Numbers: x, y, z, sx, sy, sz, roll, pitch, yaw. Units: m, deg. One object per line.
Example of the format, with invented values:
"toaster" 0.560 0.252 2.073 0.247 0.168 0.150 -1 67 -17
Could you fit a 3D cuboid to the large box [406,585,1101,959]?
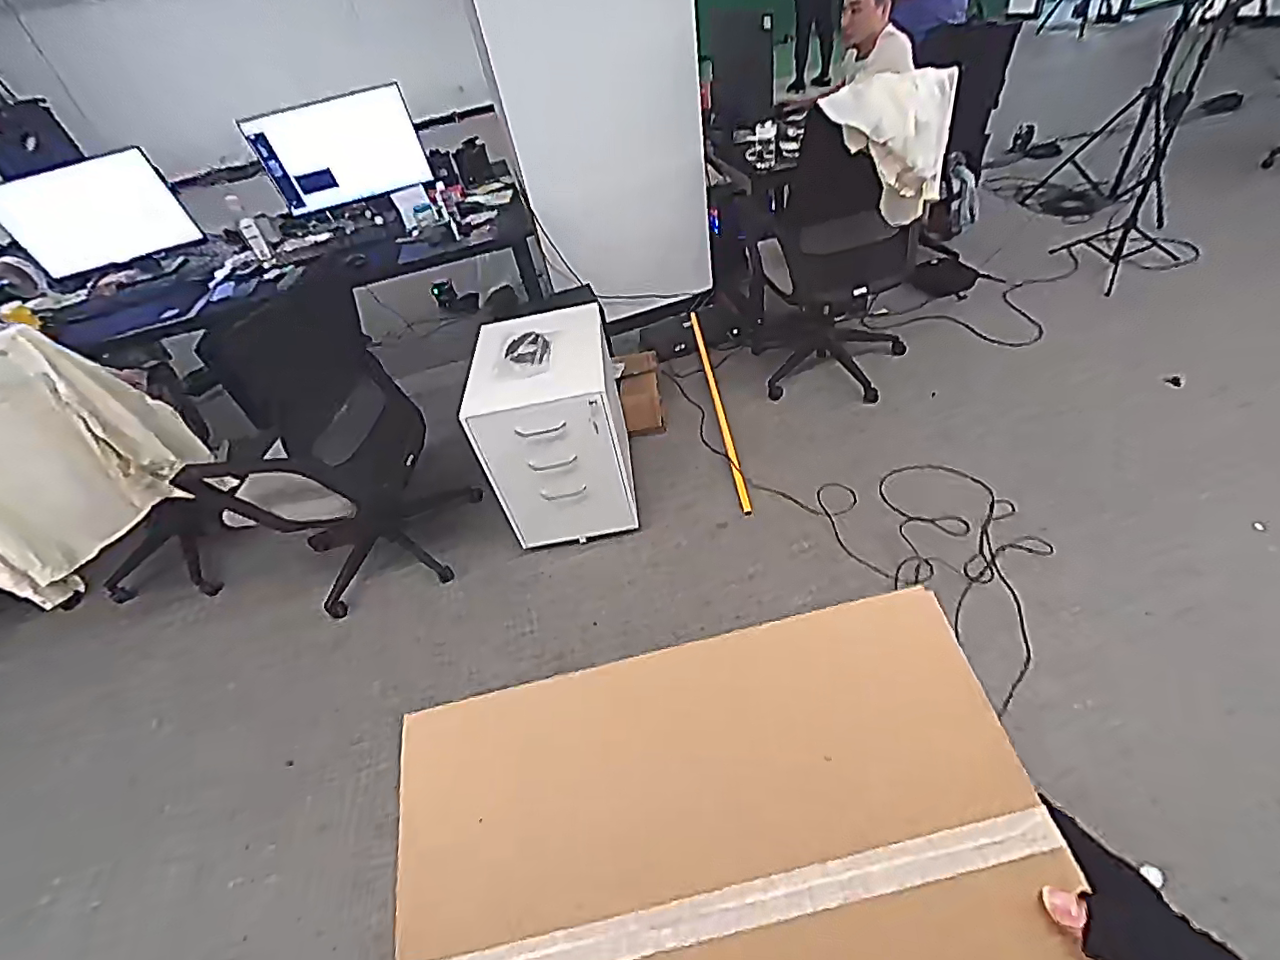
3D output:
"large box" 0.067 0.328 0.463 0.408 0.320 0.320 -14 58 0
